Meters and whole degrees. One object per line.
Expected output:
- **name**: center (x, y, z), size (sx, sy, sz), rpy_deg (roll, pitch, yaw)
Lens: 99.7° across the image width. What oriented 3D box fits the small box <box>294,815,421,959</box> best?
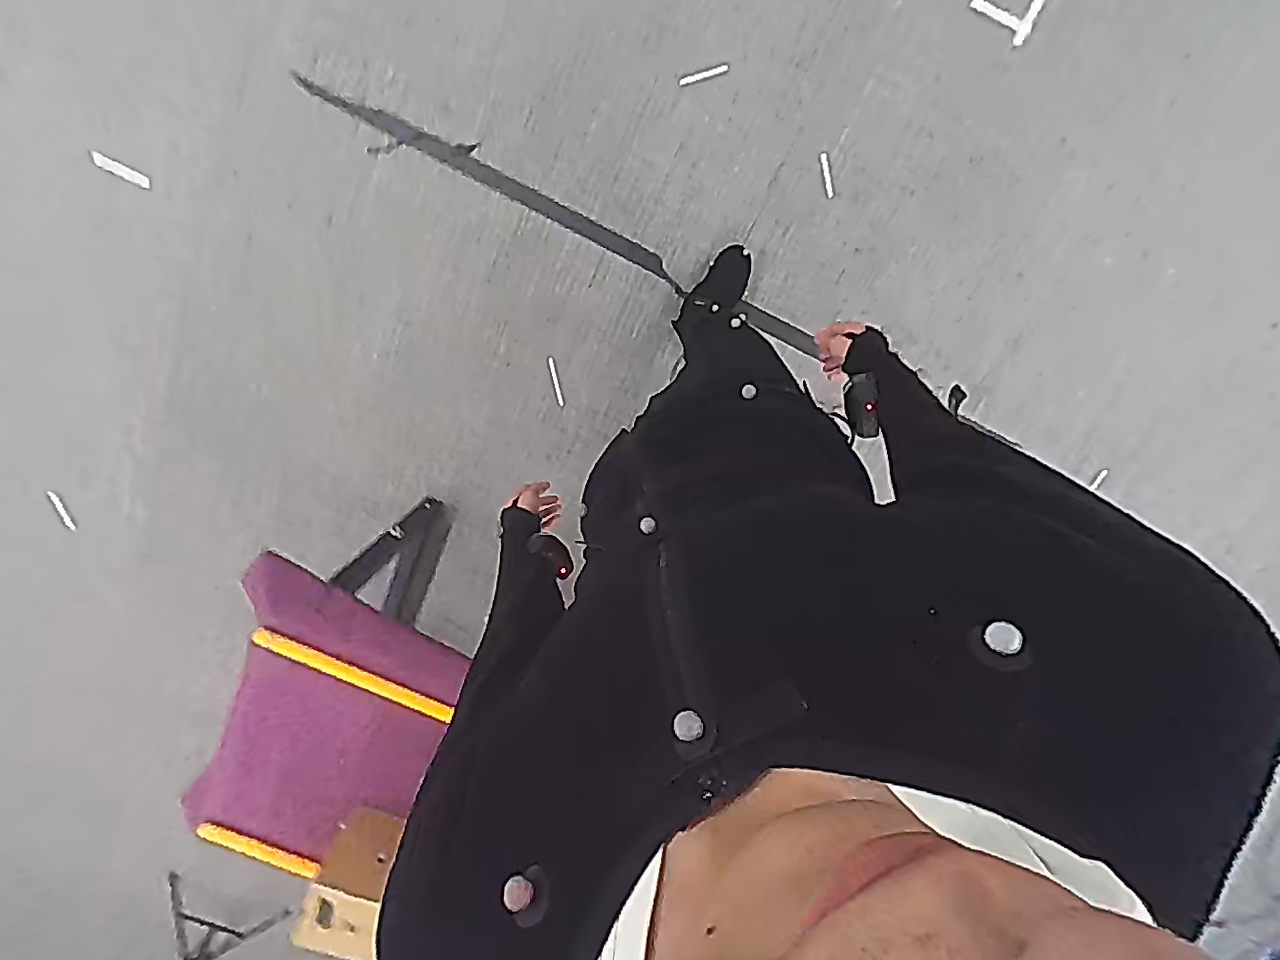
- **small box**: center (-0.528, 0.801, 1.061), size (0.179, 0.176, 0.168), rpy_deg (22, 105, -5)
